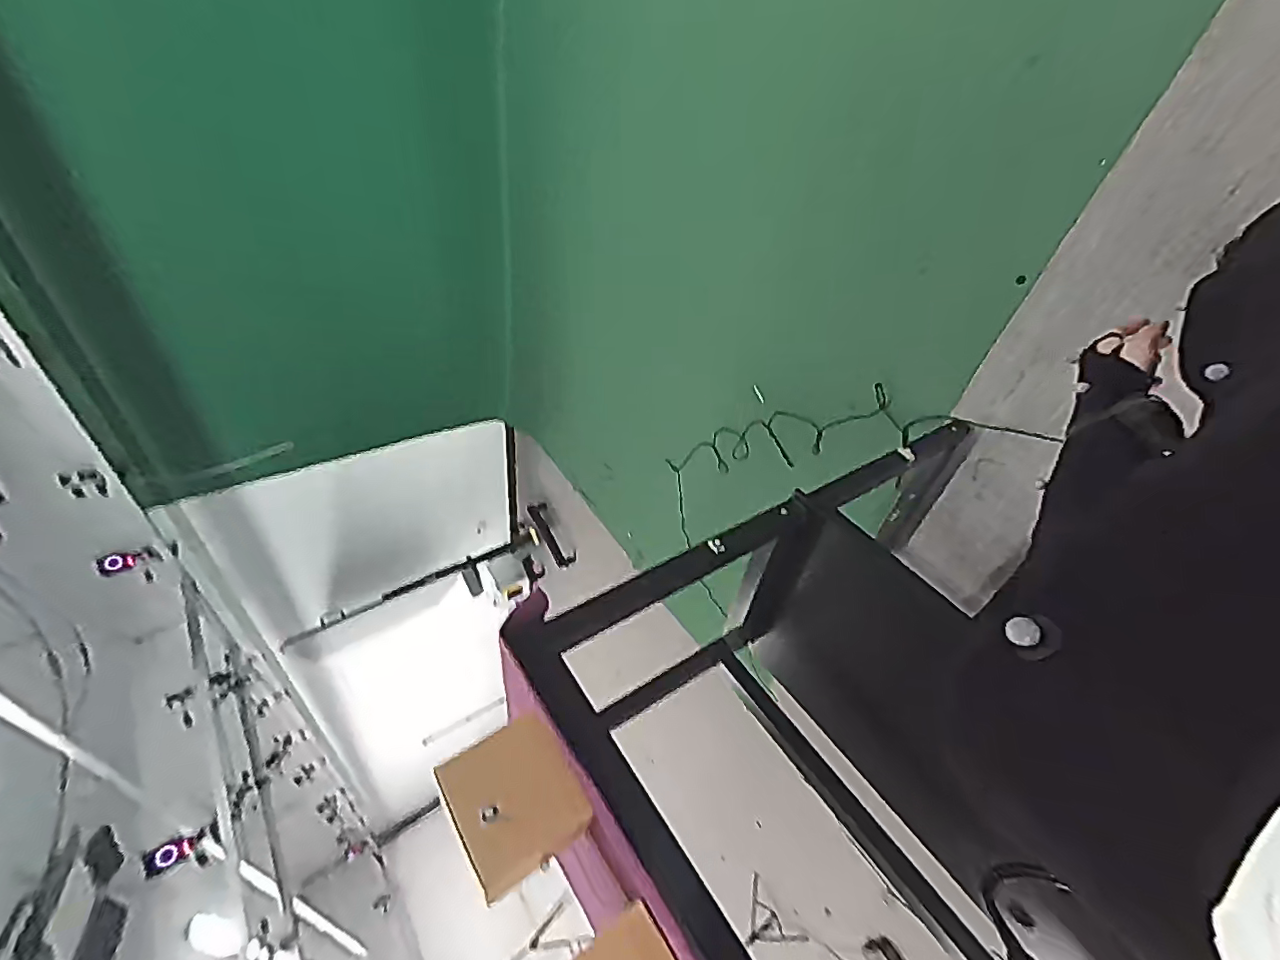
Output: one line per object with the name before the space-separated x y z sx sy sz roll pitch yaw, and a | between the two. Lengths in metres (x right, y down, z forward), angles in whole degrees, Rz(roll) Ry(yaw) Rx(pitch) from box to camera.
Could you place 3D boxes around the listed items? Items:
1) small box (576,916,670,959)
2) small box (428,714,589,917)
small box | -0.027 0.668 0.647 0.179 0.176 0.168 46 143 32
small box | -0.192 0.489 0.801 0.179 0.176 0.168 49 142 30
